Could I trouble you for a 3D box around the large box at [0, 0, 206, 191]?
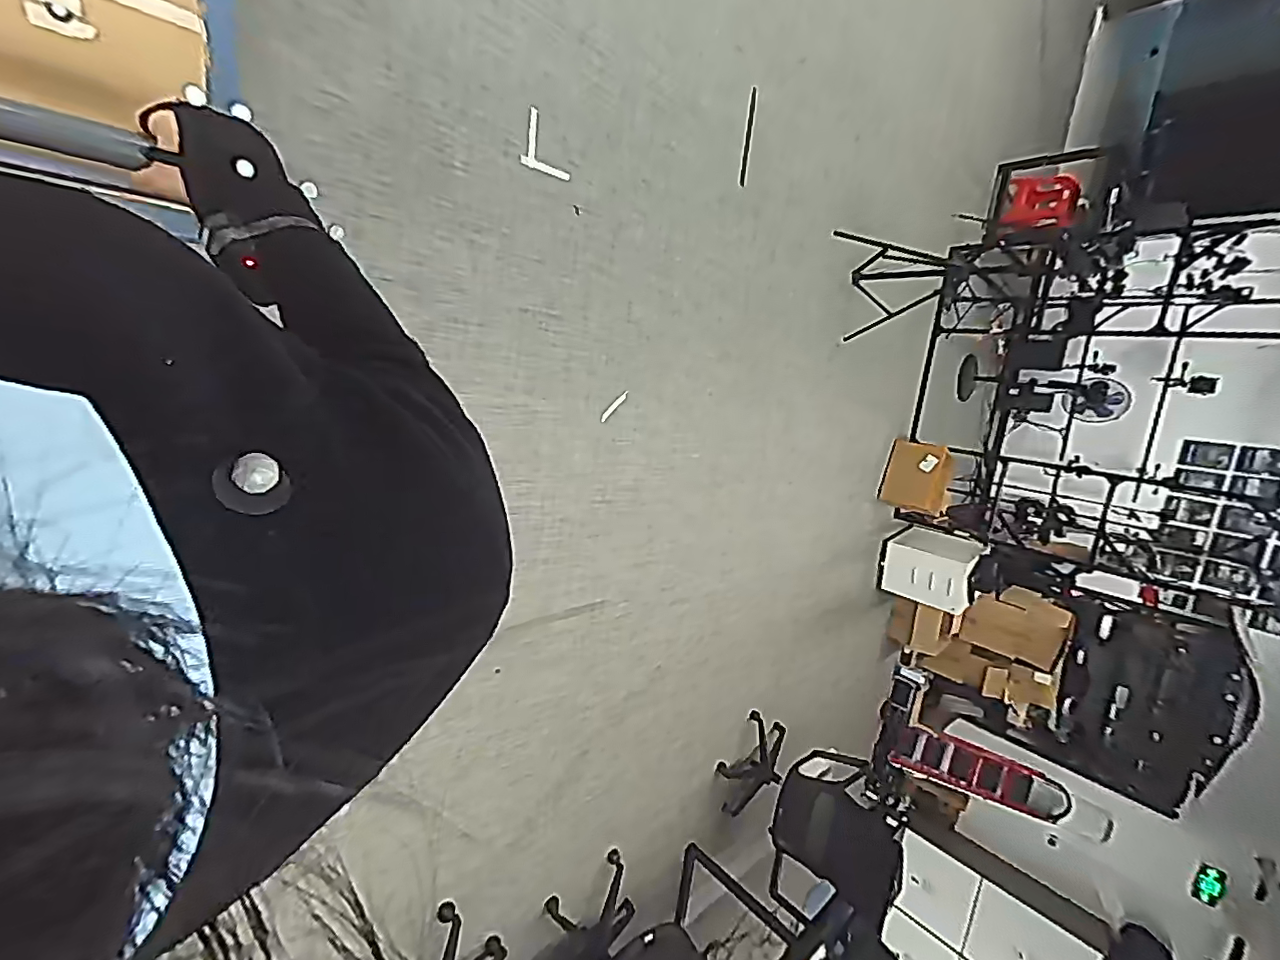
[{"bbox_3d":[-0.844,-0.611,0.691,0.408,0.320,0.320,-7,107,-44],"label":"large box"}]
